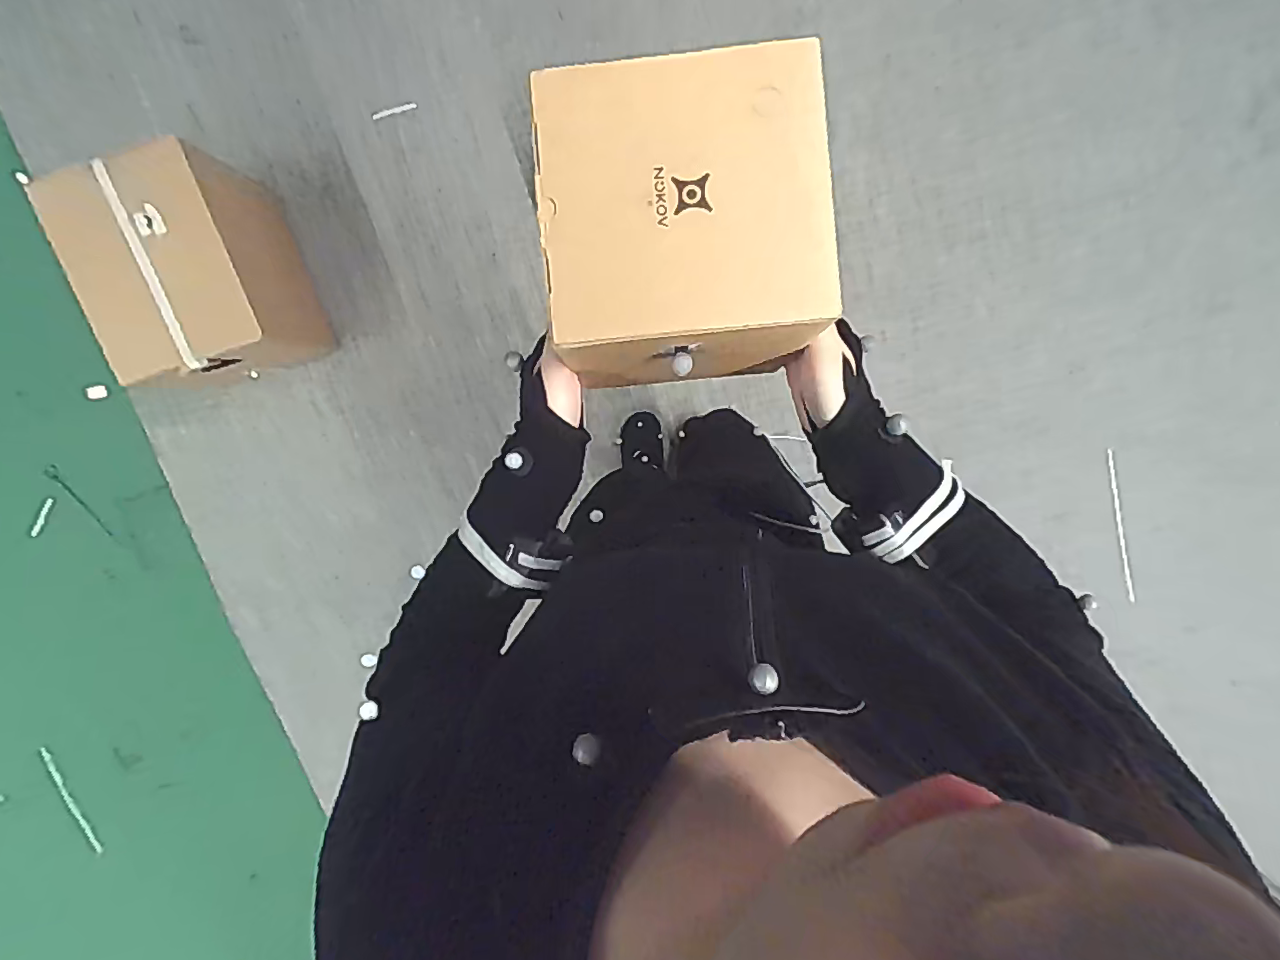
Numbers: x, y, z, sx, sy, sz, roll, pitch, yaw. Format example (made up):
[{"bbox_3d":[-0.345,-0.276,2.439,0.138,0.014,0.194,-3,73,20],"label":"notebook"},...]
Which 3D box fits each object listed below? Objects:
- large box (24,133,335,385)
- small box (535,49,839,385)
[{"bbox_3d":[-0.971,-0.450,1.203,0.320,0.320,0.408,-18,99,0],"label":"large box"},{"bbox_3d":[0.031,-0.170,0.406,0.179,0.176,0.168,-5,91,3],"label":"small box"}]
